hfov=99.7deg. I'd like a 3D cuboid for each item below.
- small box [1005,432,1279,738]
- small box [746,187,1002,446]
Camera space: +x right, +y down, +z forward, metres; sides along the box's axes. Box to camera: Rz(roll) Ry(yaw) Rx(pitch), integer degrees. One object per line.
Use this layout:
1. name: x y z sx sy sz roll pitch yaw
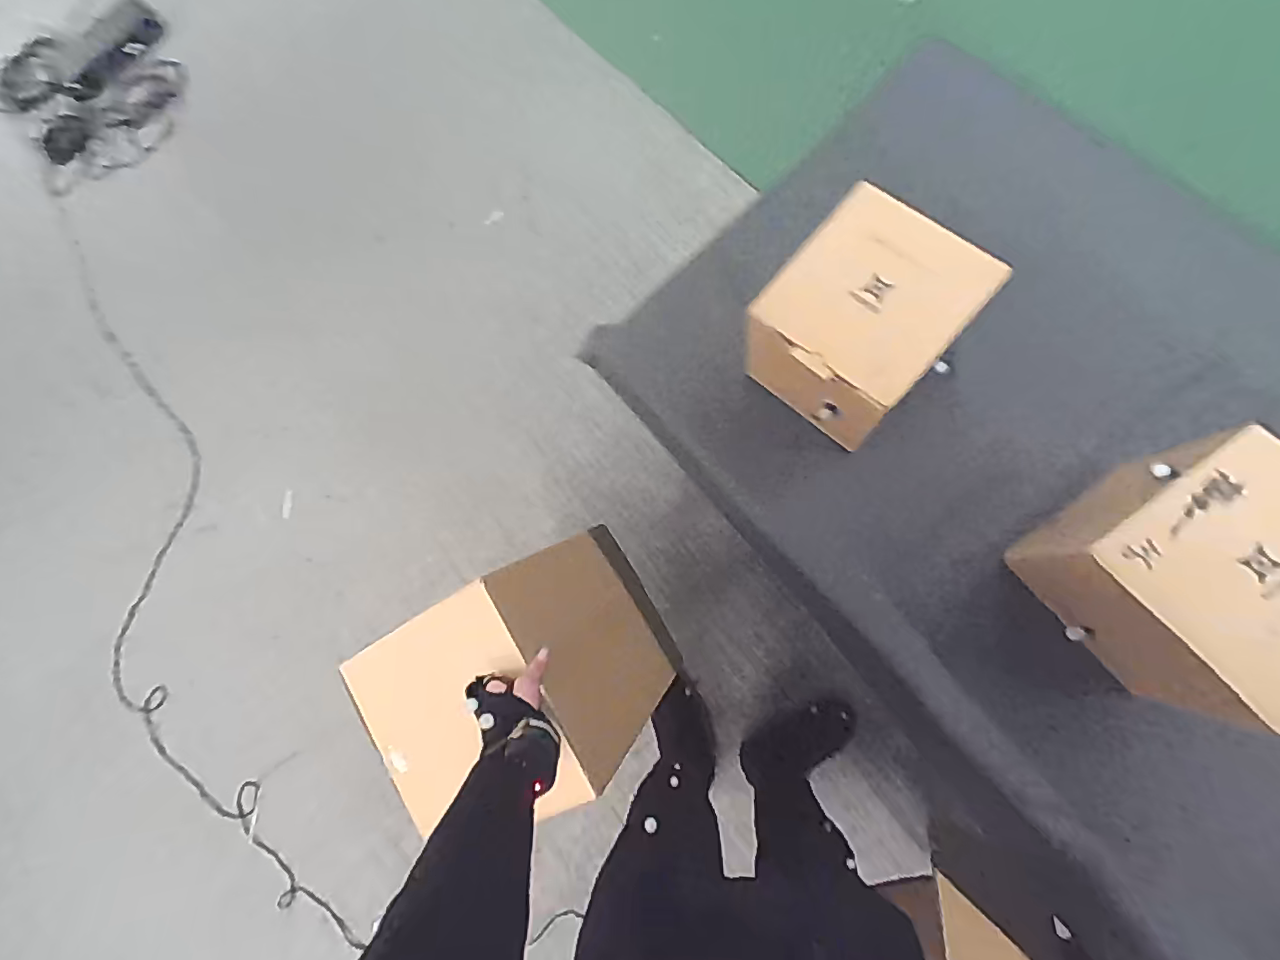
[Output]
1. small box: 0.489 0.087 0.488 0.168 0.176 0.179 -39 75 3
2. small box: 0.235 -0.162 0.593 0.168 0.176 0.179 41 88 15
